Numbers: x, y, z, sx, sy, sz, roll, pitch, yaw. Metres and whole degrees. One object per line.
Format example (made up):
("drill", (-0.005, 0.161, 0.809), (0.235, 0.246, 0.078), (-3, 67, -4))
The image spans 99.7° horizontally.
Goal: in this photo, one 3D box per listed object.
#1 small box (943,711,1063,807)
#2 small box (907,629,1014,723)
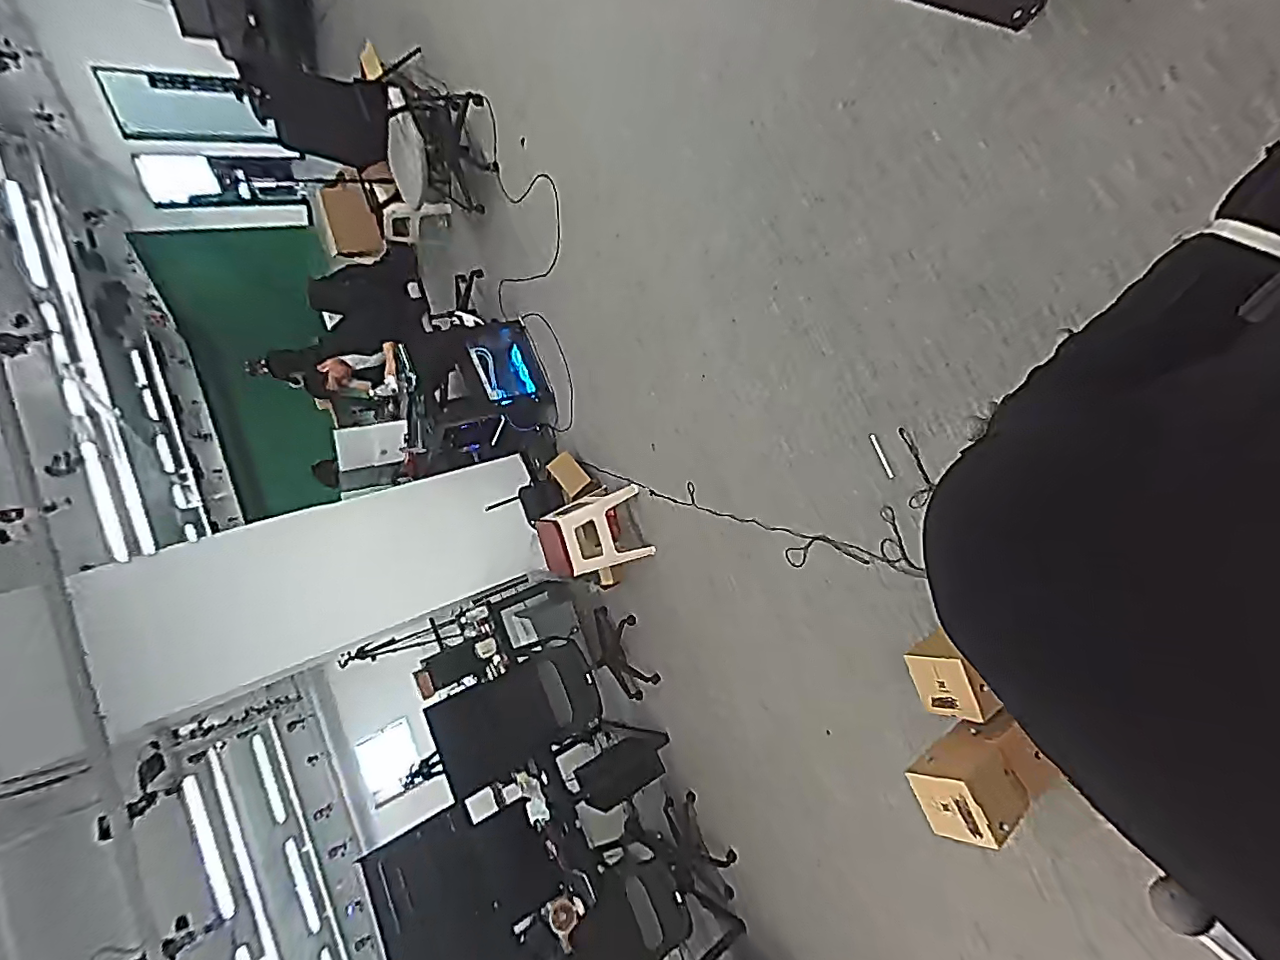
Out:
("small box", (0.970, 0.737, 1.447), (0.168, 0.176, 0.179), (63, 148, 12))
("small box", (0.875, 0.525, 1.472), (0.168, 0.176, 0.179), (-23, 86, 59))
